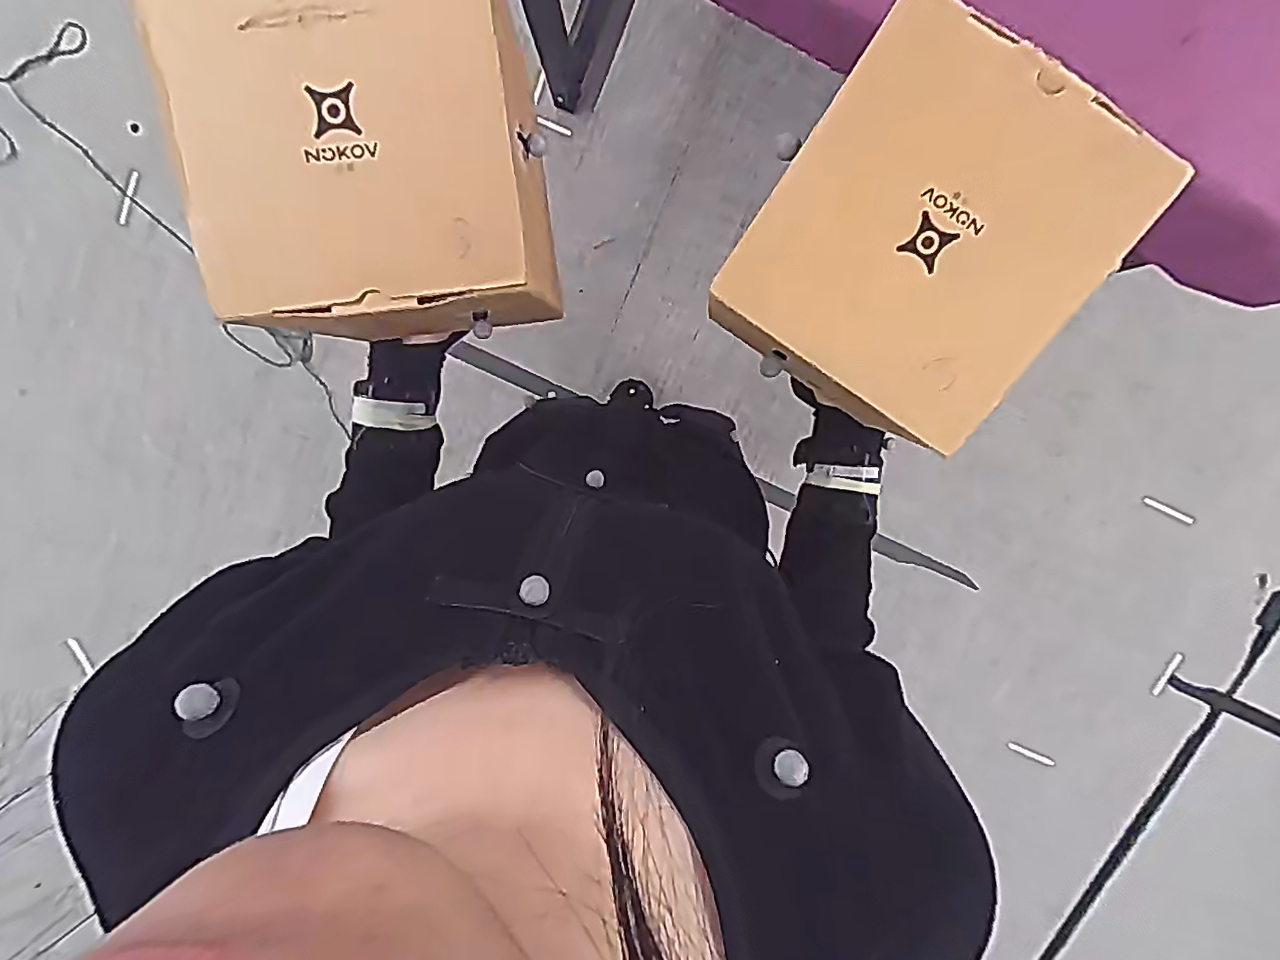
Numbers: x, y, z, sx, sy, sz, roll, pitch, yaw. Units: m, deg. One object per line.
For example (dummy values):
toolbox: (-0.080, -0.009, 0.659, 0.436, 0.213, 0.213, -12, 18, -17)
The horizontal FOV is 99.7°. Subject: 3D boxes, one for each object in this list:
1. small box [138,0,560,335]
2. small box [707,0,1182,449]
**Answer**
small box: (-0.149, -0.190, 0.343, 0.168, 0.176, 0.179, -7, 101, -2)
small box: (0.161, -0.145, 0.358, 0.168, 0.176, 0.179, 34, 103, -1)
